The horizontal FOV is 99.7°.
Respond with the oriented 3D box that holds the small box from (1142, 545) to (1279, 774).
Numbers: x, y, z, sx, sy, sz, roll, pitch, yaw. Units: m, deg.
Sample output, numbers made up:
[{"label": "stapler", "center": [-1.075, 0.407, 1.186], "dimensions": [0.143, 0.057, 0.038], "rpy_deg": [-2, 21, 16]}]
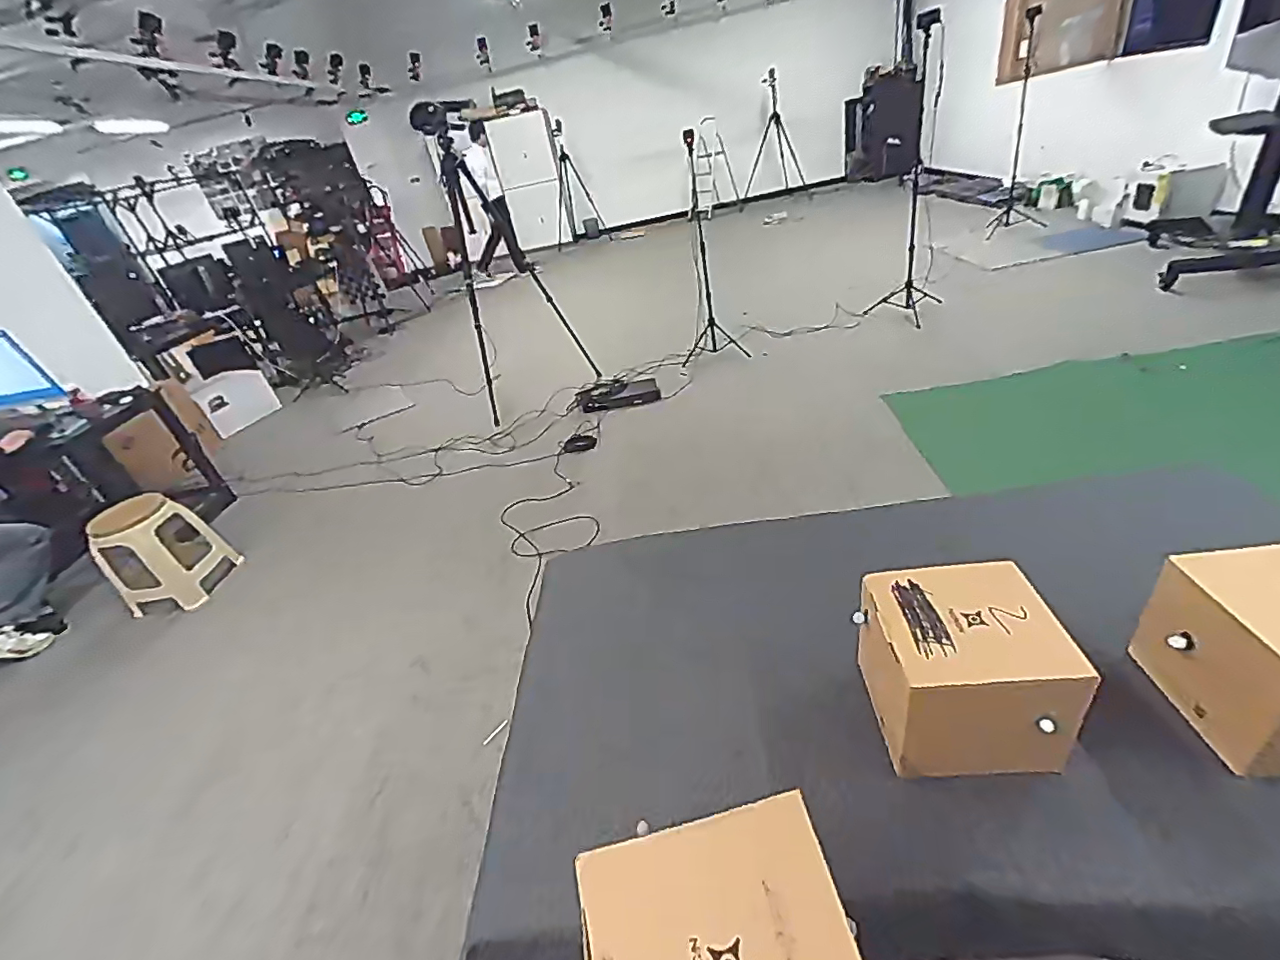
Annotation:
[{"label": "small box", "center": [0.687, 0.187, 0.570], "dimensions": [0.179, 0.176, 0.168], "rpy_deg": [-8, 32, 8]}]
